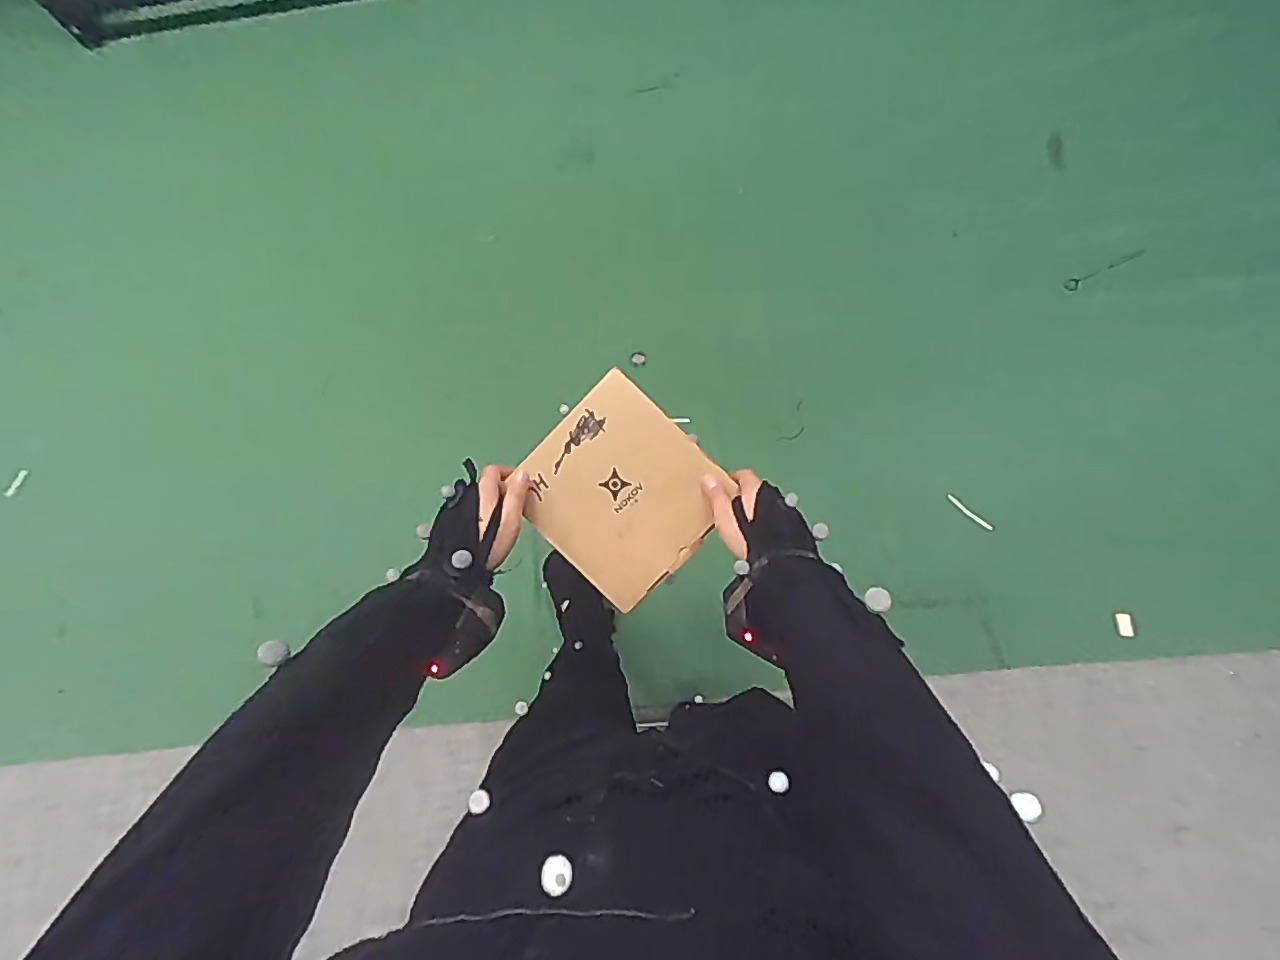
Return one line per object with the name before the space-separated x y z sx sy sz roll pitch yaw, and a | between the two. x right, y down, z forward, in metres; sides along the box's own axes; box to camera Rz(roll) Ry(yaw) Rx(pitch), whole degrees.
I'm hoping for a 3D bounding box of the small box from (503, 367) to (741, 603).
small box | -0.016 0.003 0.603 0.179 0.176 0.168 44 91 0
